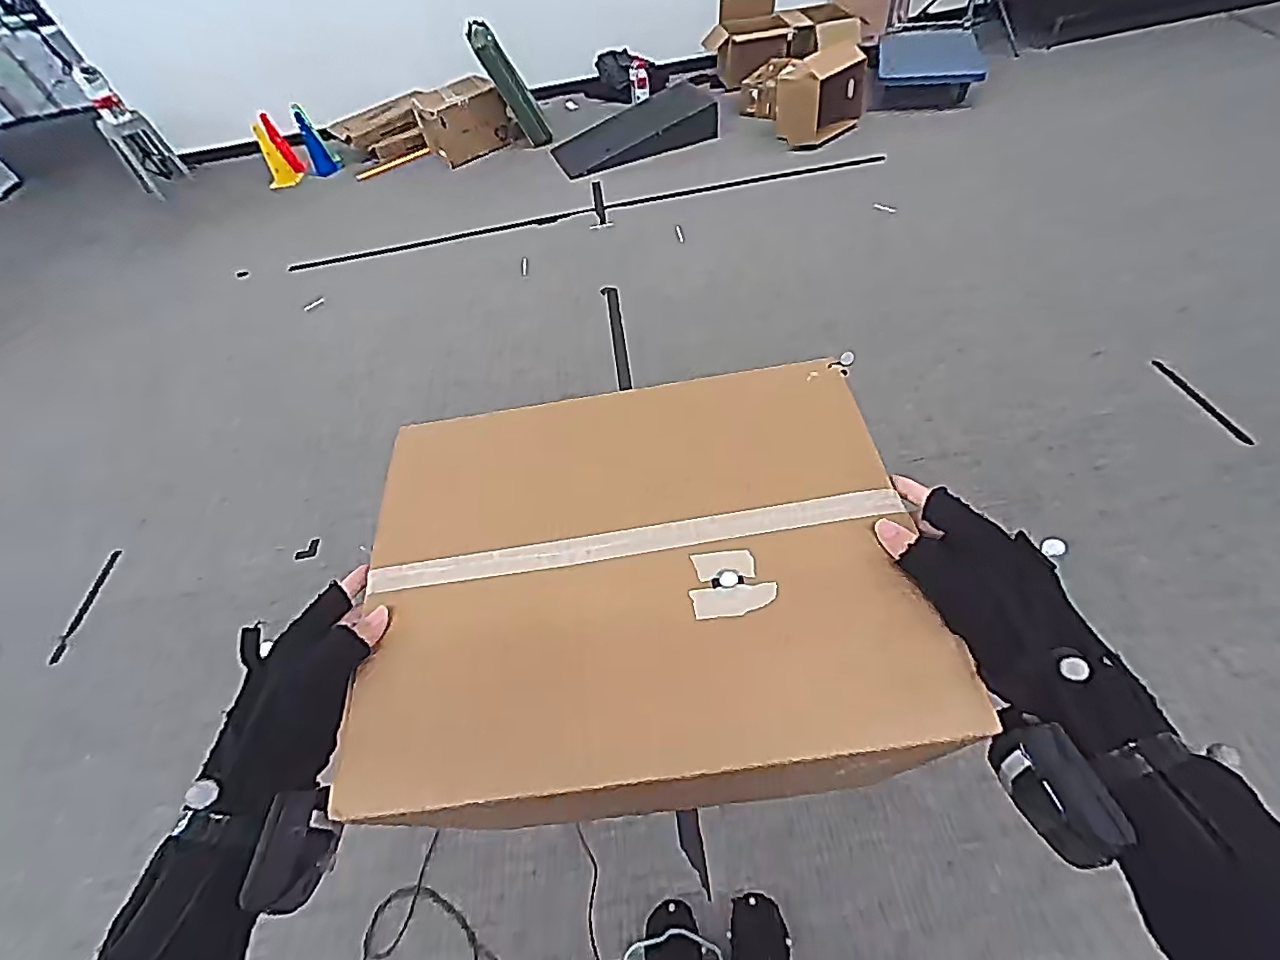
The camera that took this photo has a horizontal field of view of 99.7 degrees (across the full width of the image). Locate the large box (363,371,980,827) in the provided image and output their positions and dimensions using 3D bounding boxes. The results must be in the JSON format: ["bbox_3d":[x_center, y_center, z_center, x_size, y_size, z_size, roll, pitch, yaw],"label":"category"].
[{"bbox_3d":[0.015,0.136,0.544,0.408,0.320,0.320,-9,56,2],"label":"large box"}]
